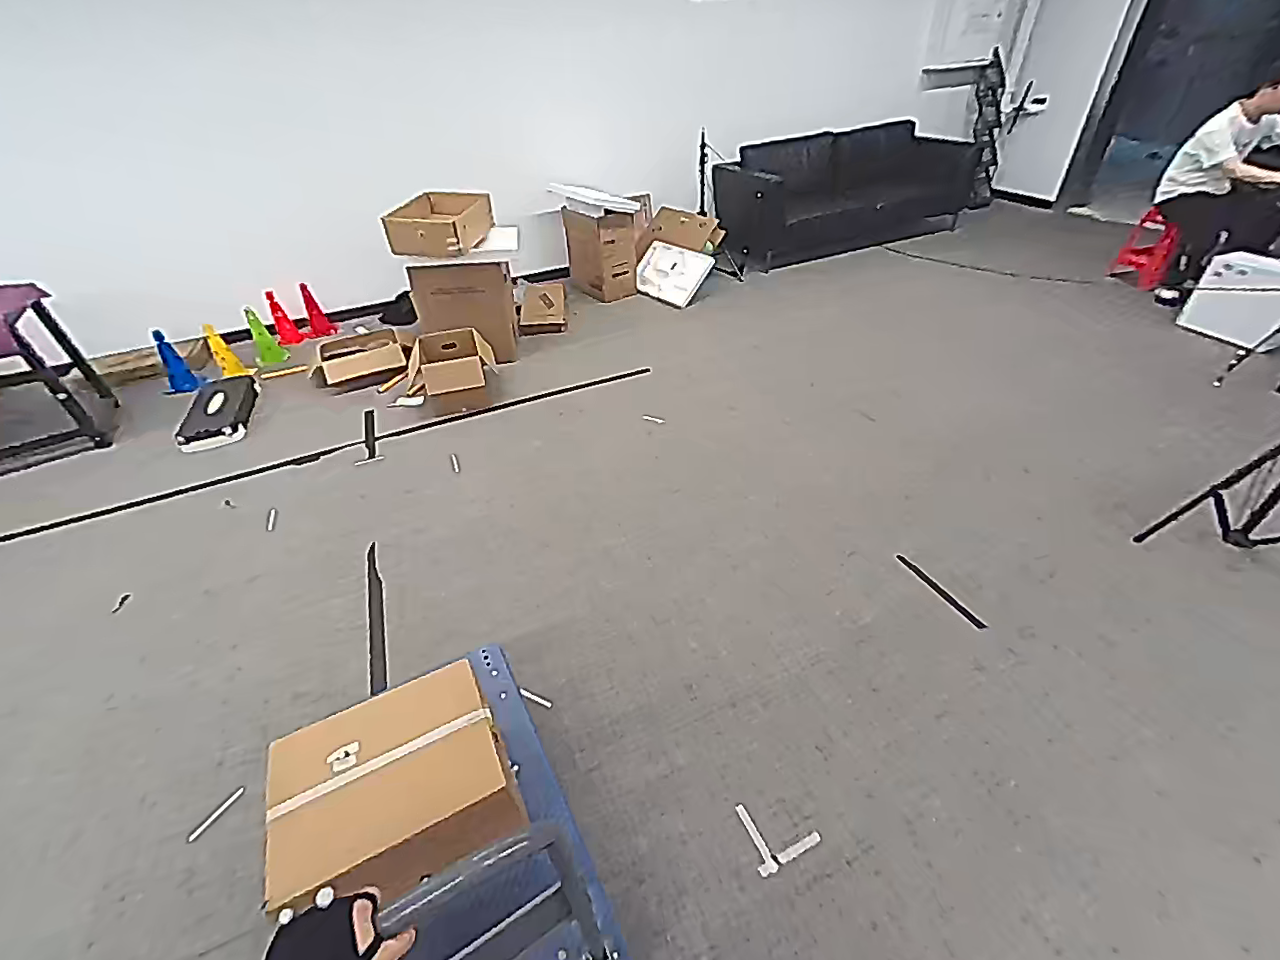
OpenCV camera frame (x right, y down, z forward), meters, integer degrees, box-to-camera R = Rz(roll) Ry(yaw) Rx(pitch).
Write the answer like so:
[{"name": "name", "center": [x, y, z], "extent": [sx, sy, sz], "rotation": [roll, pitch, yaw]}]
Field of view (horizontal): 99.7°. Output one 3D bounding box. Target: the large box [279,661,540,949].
[{"name": "large box", "center": [-0.472, 0.670, 1.145], "extent": [0.408, 0.320, 0.320], "rotation": [-21, 40, -19]}]
